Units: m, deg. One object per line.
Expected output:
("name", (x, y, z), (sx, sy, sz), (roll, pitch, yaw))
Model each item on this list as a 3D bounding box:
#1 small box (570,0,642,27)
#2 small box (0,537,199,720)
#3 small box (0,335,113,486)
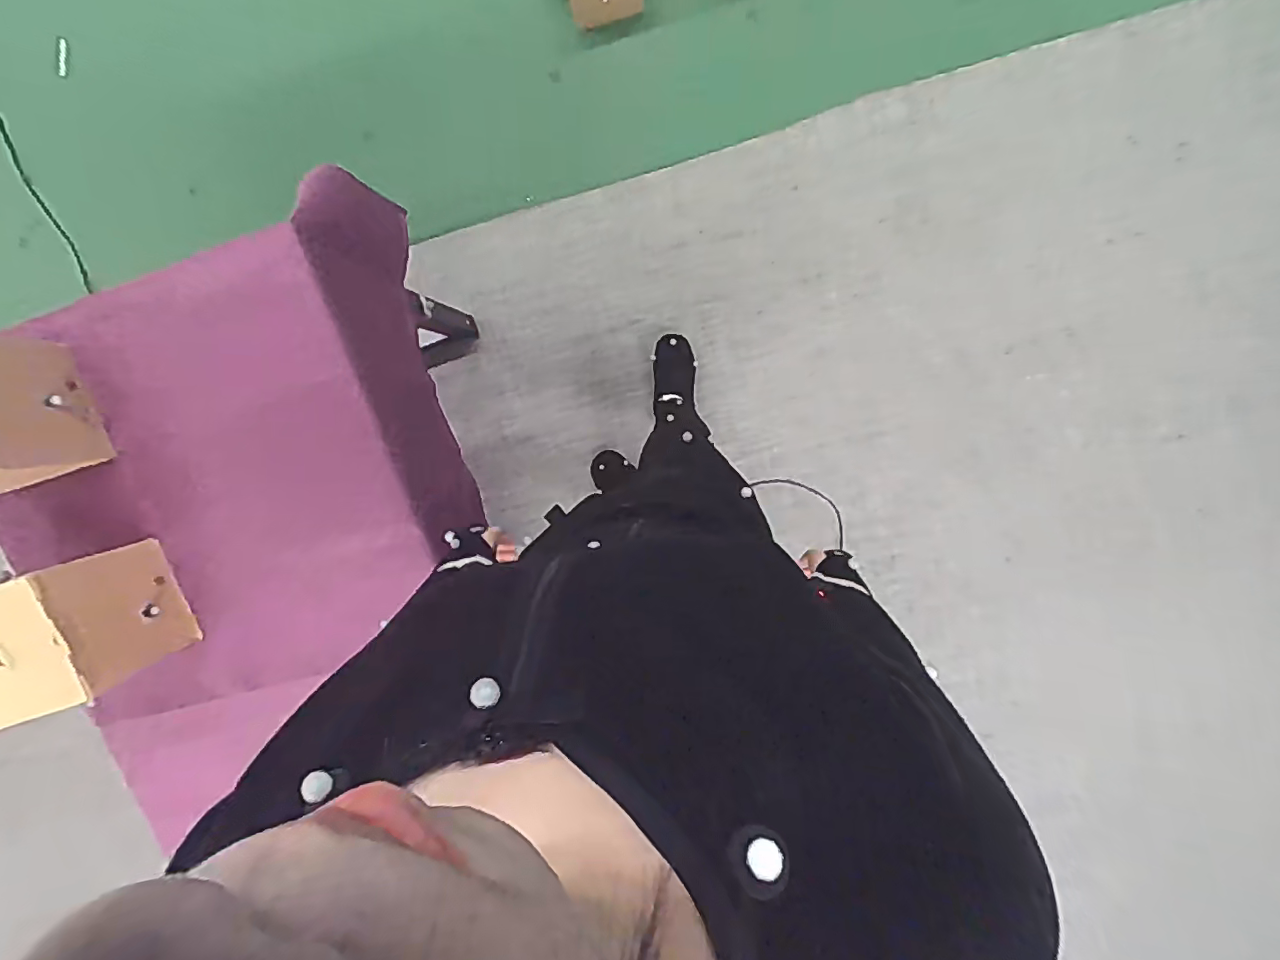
("small box", (-0.090, -1.186, 1.224), (0.179, 0.176, 0.168), (-14, 98, 5))
("small box", (-0.765, 0.193, 0.728), (0.179, 0.176, 0.168), (-18, 98, 3))
("small box", (-0.848, -0.080, 0.682), (0.179, 0.176, 0.168), (-16, 99, 1))
